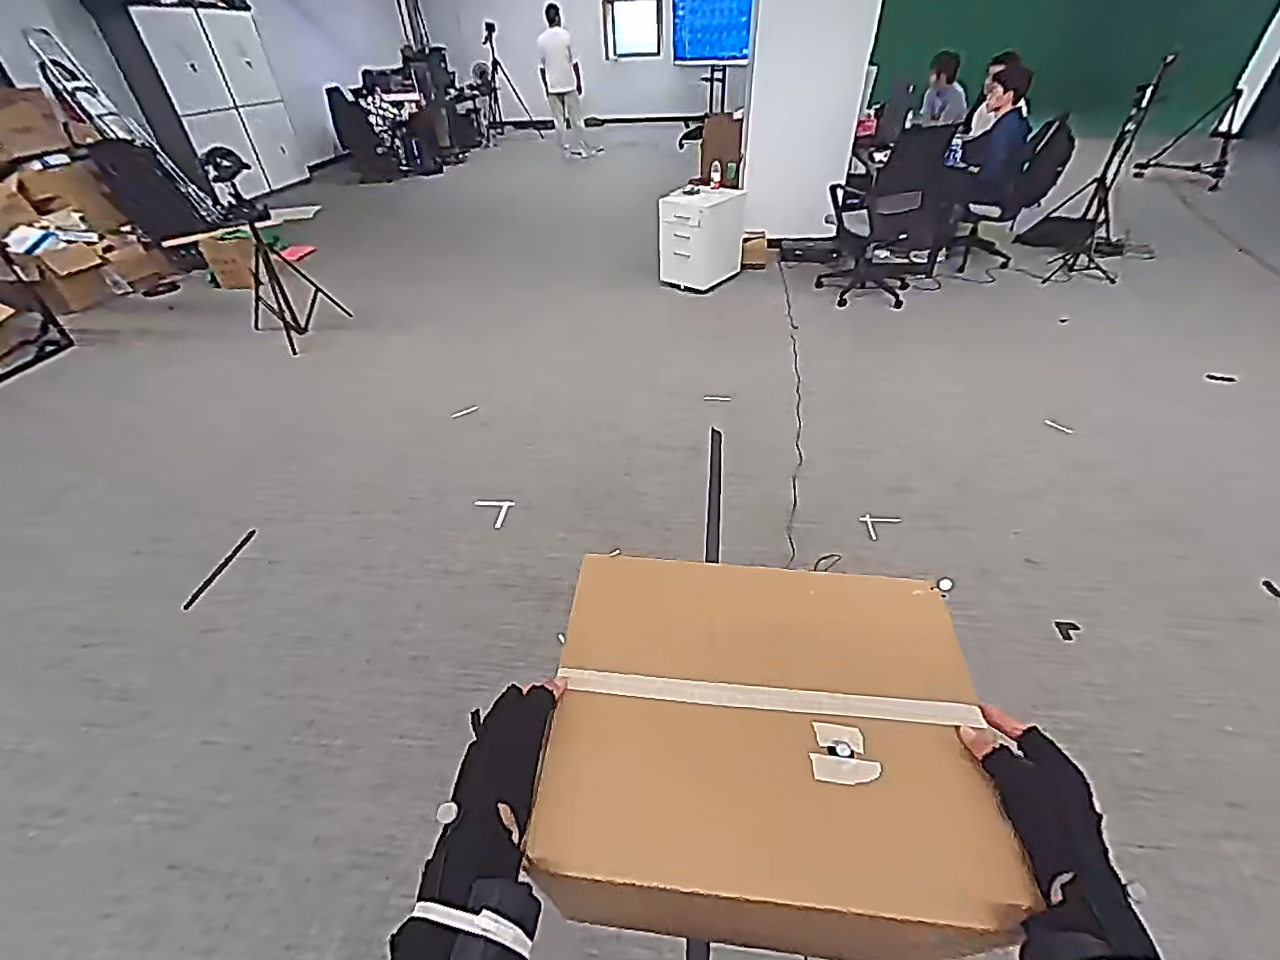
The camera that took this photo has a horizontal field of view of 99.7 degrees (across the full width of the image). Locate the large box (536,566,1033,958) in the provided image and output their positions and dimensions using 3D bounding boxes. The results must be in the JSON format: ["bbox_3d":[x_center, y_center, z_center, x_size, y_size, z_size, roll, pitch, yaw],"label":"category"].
[{"bbox_3d":[0.124,0.327,0.640,0.408,0.320,0.320,4,46,5],"label":"large box"}]
